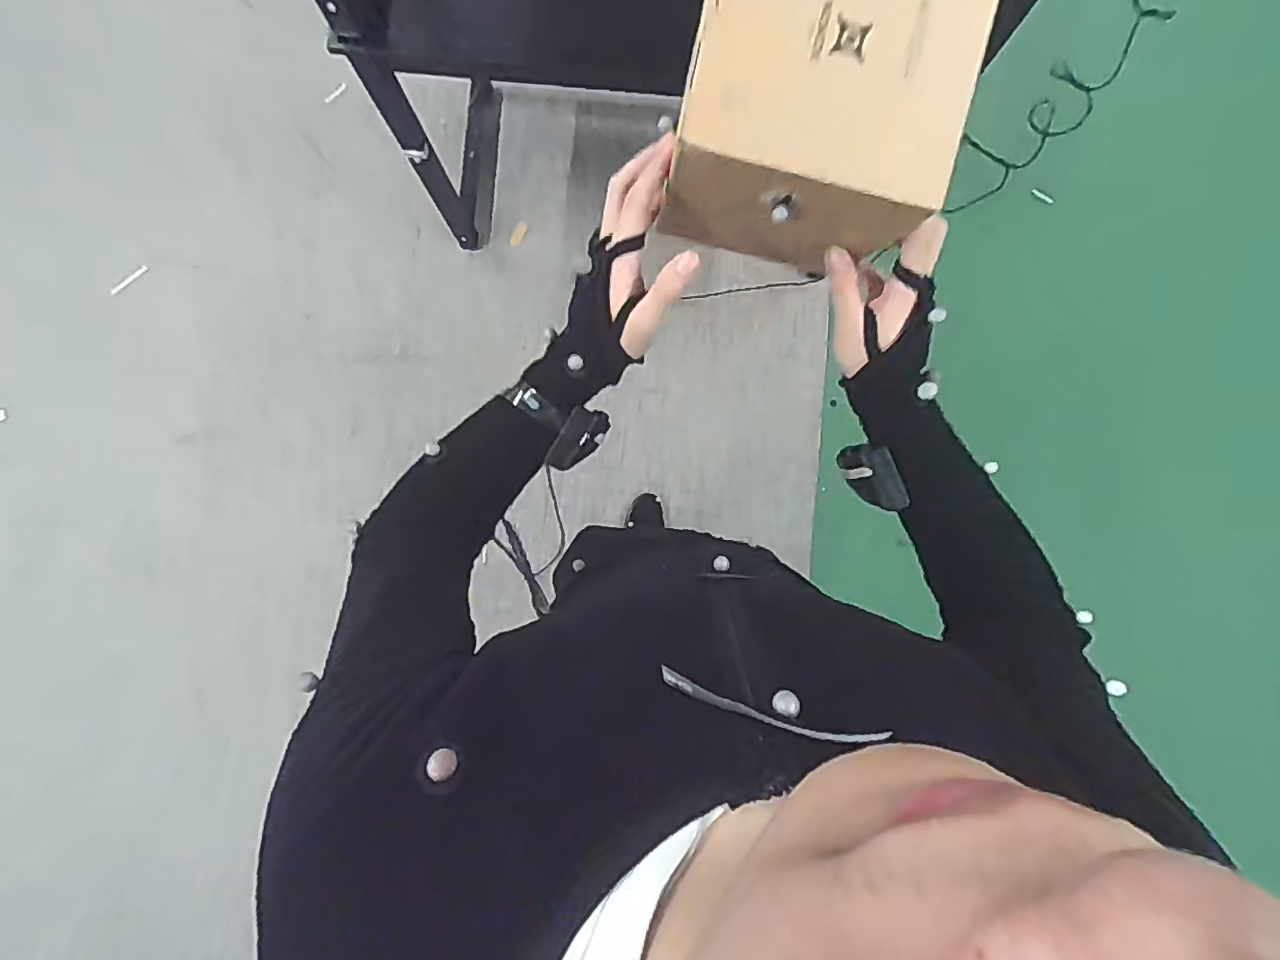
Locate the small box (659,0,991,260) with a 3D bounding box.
[{"bbox_3d":[0.116,-0.282,0.402,0.179,0.176,0.168,13,98,-4],"label":"small box"}]
